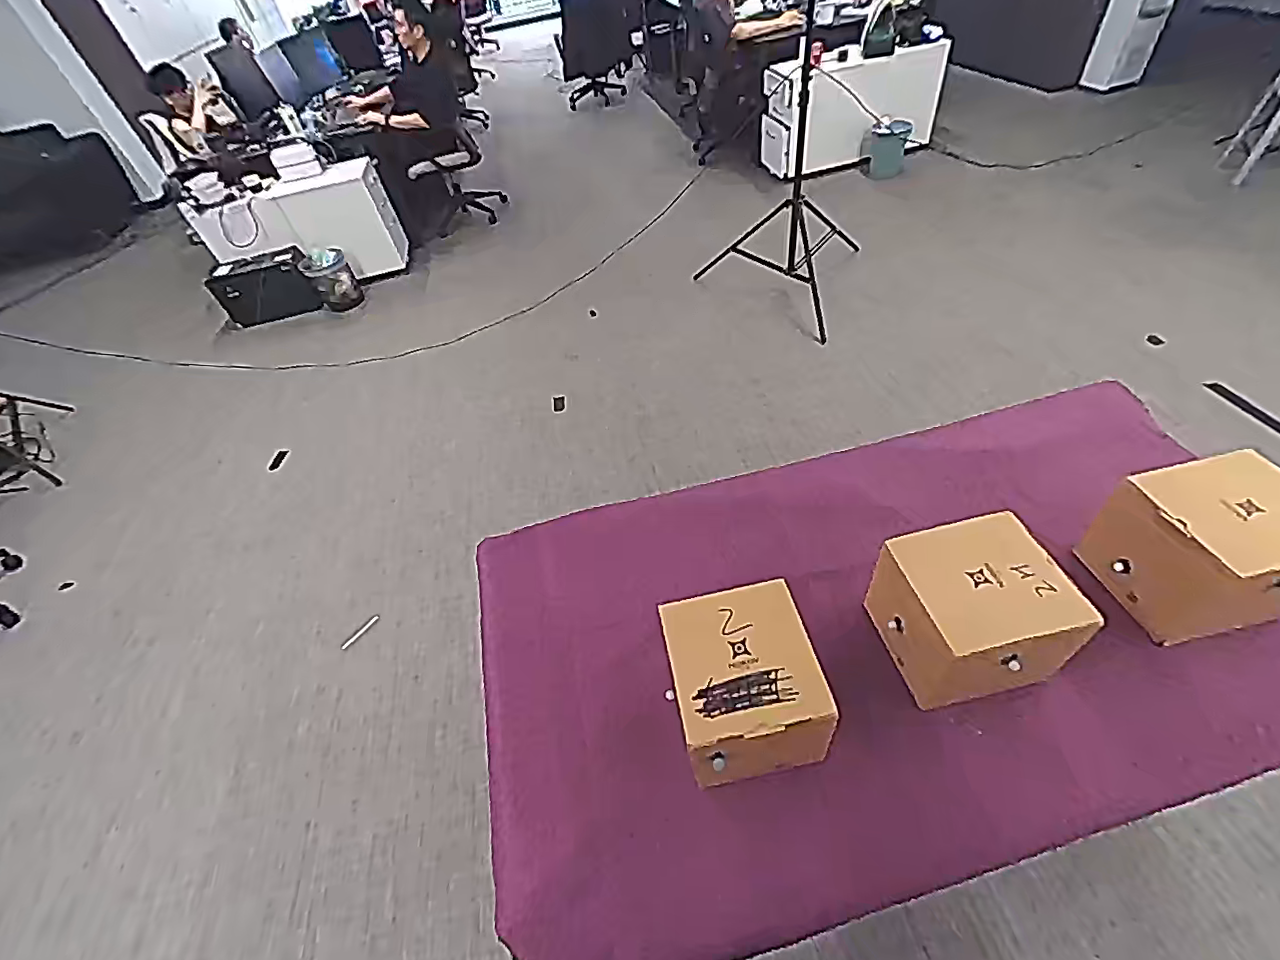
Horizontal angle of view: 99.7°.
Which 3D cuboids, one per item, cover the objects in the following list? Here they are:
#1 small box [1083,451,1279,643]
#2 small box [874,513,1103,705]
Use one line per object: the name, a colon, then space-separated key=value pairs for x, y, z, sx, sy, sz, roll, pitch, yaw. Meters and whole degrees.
small box: x=0.752 y=0.092 z=0.715 sx=0.179 sy=0.176 sz=0.168 roll=-13 pitch=46 yaw=0
small box: x=0.426 y=0.172 z=0.704 sx=0.179 sy=0.176 sz=0.168 roll=-12 pitch=47 yaw=-1
